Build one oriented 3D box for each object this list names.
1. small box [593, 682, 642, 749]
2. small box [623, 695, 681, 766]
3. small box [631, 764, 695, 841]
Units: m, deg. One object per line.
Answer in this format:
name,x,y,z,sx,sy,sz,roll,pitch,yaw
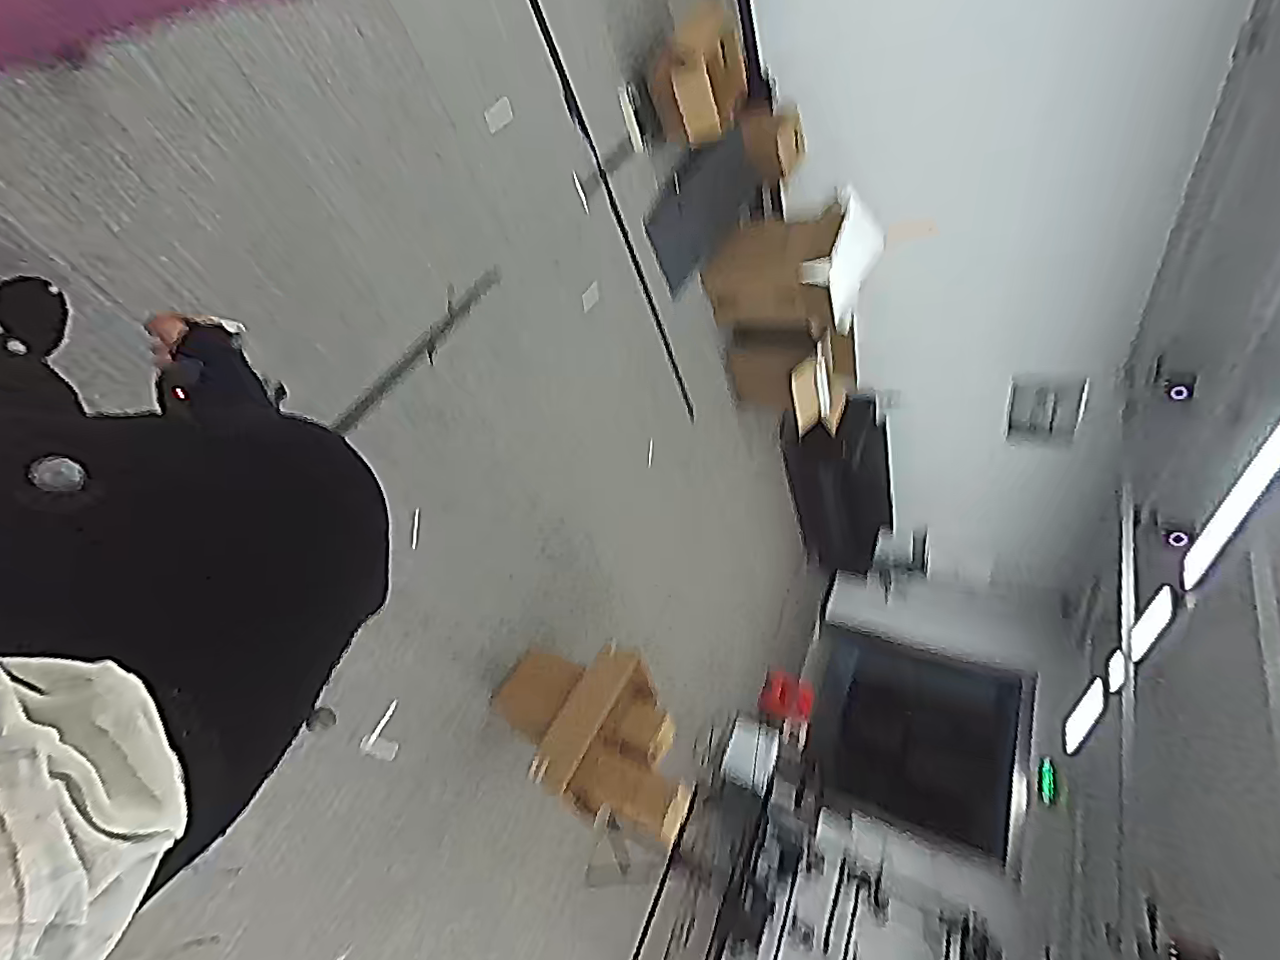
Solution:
small box,-0.084,1.012,2.332,0.179,0.176,0.168,-51,138,-35
small box,0.045,1.030,2.231,0.179,0.176,0.168,-47,136,-40
small box,0.087,1.205,2.029,0.168,0.176,0.179,-54,140,-39
